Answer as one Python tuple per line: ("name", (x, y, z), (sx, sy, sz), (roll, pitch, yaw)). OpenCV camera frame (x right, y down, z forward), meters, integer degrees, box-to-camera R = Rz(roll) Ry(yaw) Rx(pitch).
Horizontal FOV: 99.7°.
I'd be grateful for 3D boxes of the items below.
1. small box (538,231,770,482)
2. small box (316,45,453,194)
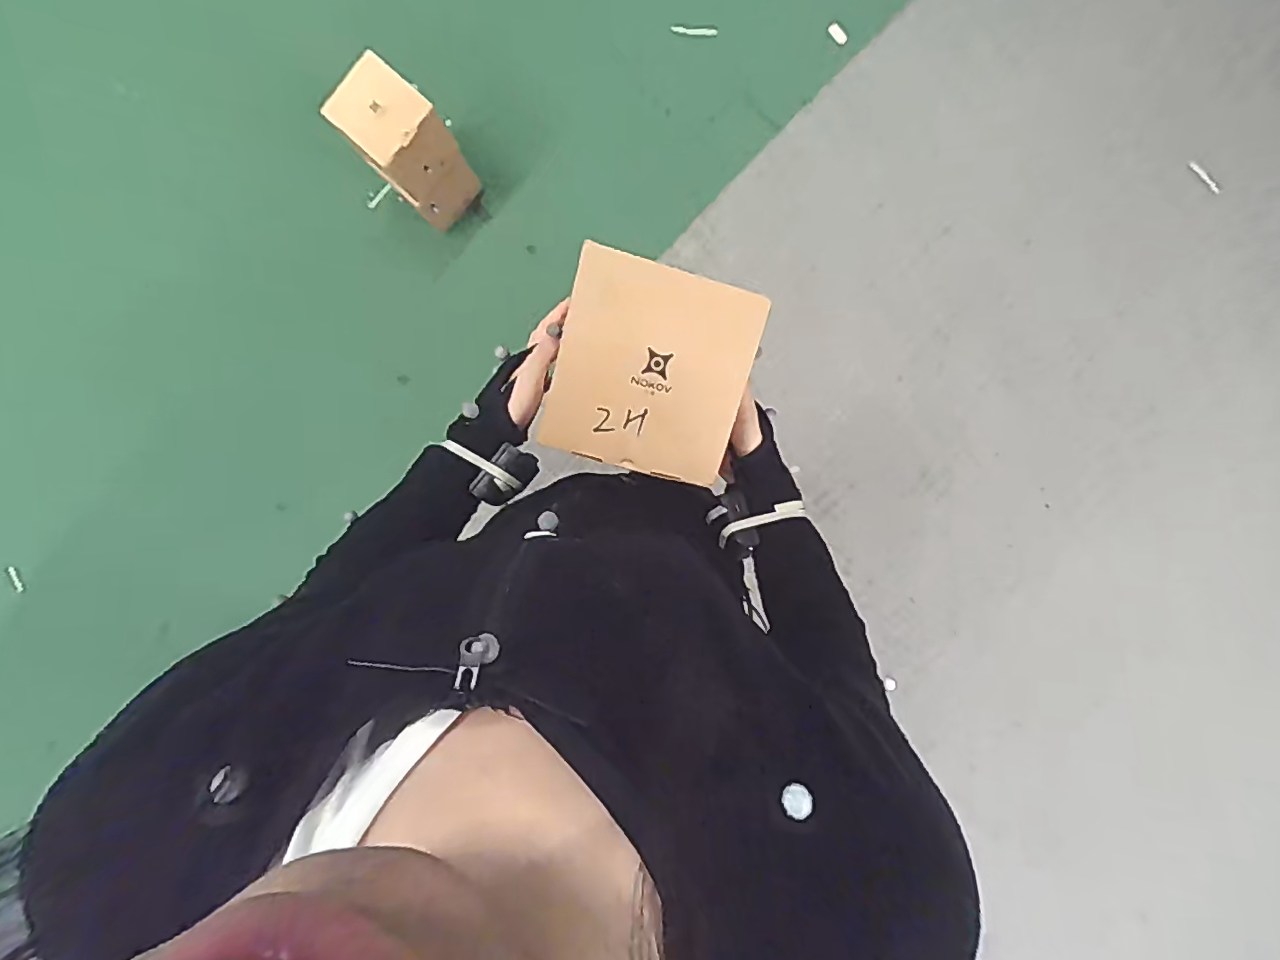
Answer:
("small box", (0.002, -0.118, 0.537), (0.168, 0.176, 0.179), (14, 103, -10))
("small box", (-0.546, -0.772, 1.182), (0.179, 0.176, 0.168), (41, 93, -3))
